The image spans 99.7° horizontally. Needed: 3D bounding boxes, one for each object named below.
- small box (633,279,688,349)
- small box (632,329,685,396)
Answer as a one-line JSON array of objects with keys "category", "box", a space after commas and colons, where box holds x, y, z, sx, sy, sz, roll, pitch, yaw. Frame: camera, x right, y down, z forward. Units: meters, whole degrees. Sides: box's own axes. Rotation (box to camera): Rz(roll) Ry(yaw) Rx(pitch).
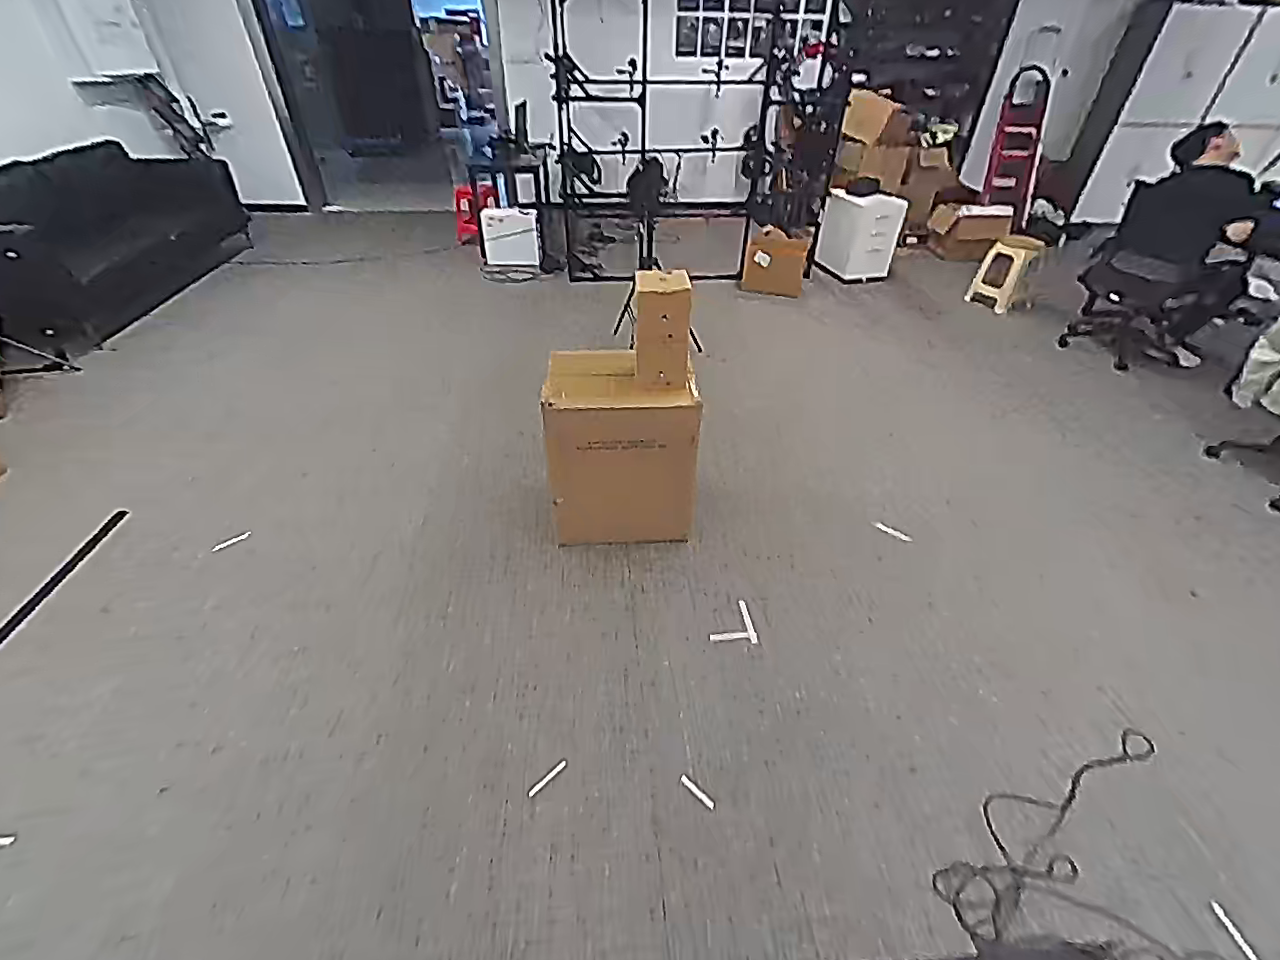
[{"category": "small box", "box": [0.063, -0.531, 1.735, 0.168, 0.176, 0.179, -2, 40, -2]}, {"category": "small box", "box": [0.059, -0.401, 1.835, 0.168, 0.176, 0.179, -3, 39, -3]}]
